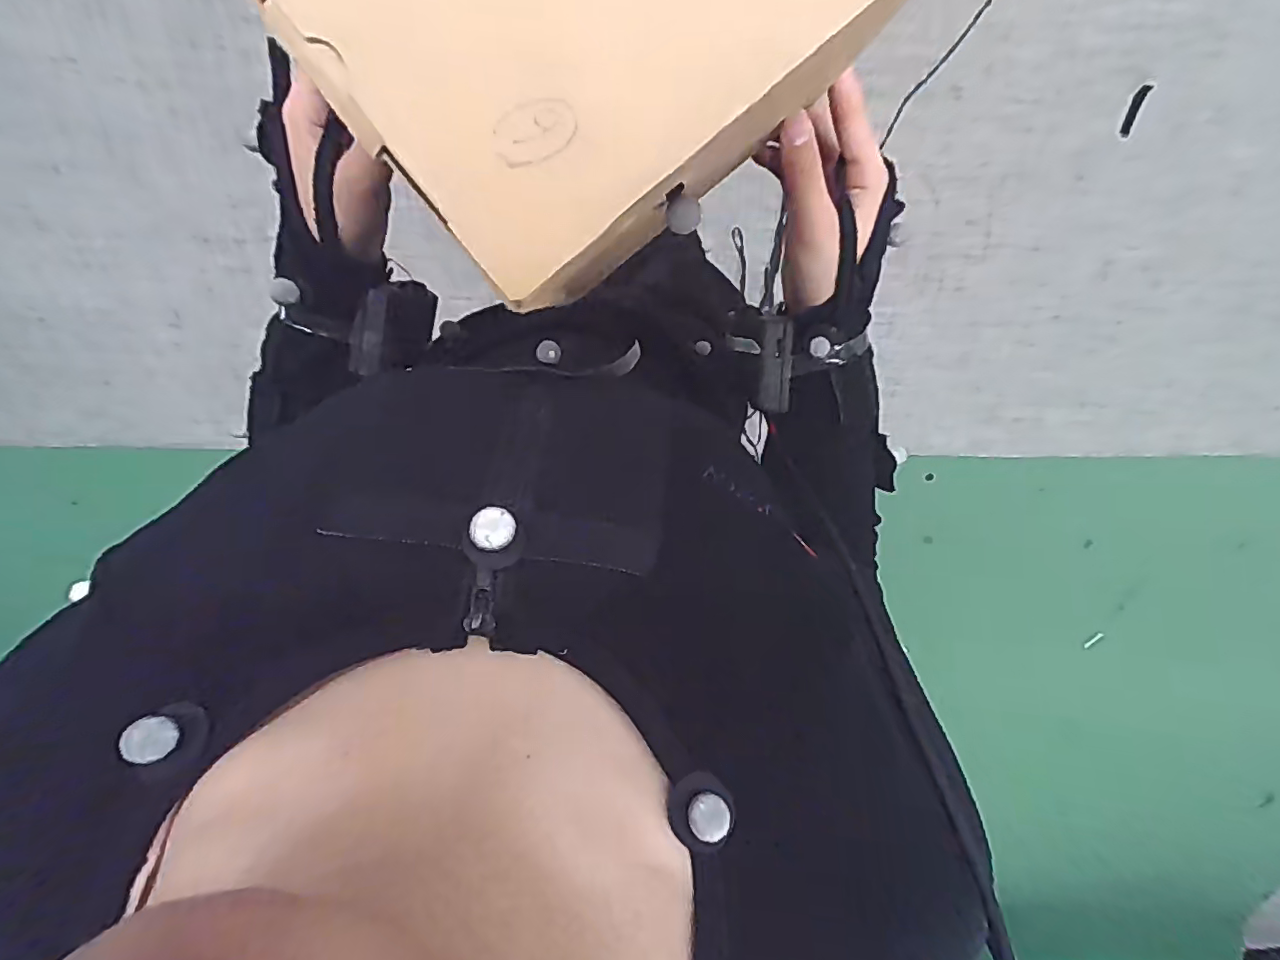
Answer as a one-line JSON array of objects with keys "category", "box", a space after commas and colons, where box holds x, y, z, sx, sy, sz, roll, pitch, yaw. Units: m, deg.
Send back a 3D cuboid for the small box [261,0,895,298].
[{"category": "small box", "box": [-0.021, -0.192, 0.218, 0.179, 0.176, 0.168, -36, 105, 11]}]
